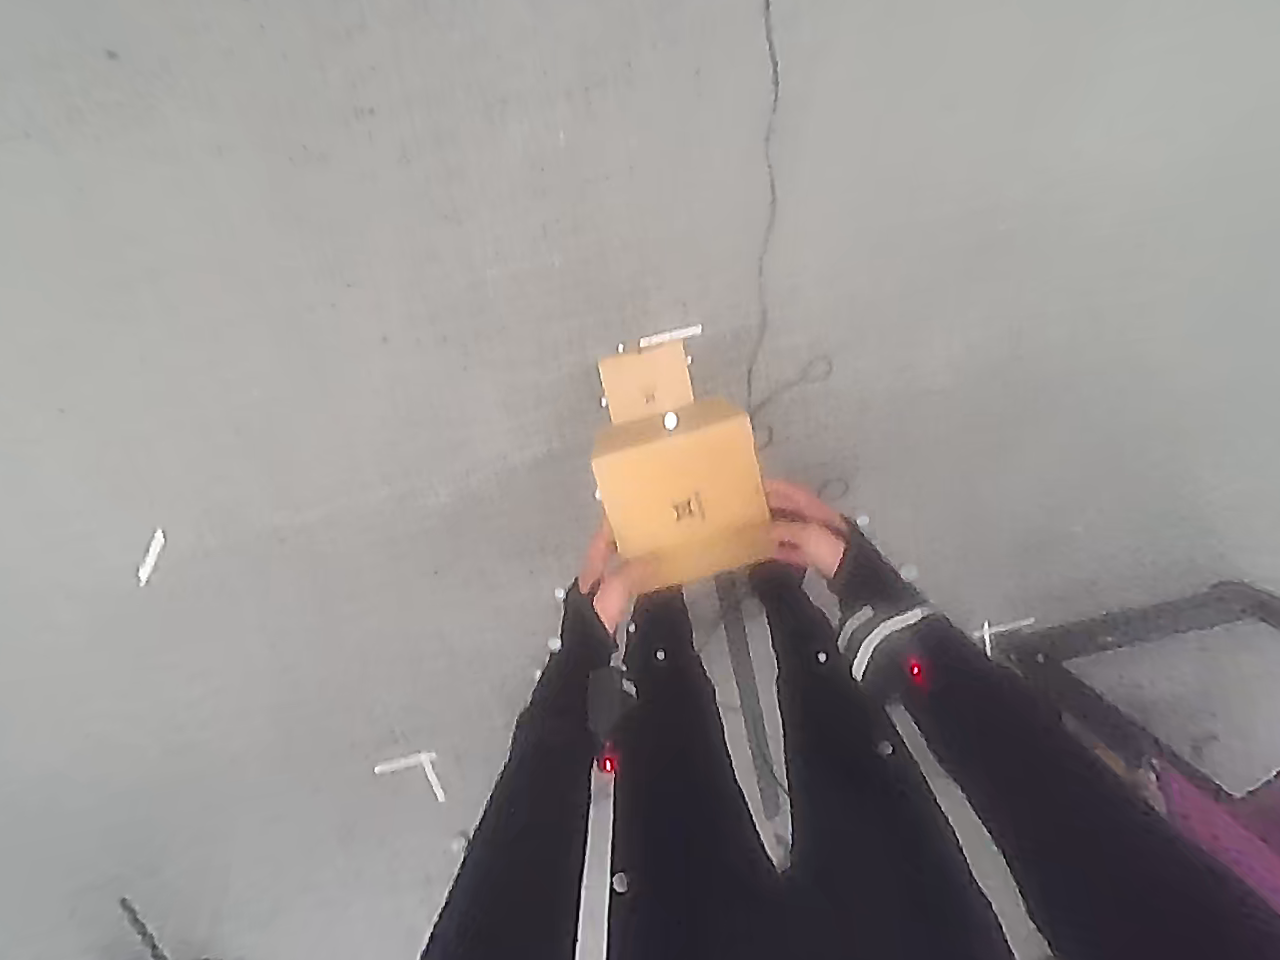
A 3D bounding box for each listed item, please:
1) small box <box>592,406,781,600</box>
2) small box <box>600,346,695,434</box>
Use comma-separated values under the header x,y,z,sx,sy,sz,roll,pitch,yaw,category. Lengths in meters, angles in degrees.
x,y,z,sx,sy,sz,roll,pitch,yaw,category
0.051,0.017,0.659,0.179,0.176,0.168,-16,106,1,small box
0.019,-0.169,1.110,0.168,0.176,0.179,-13,103,4,small box
